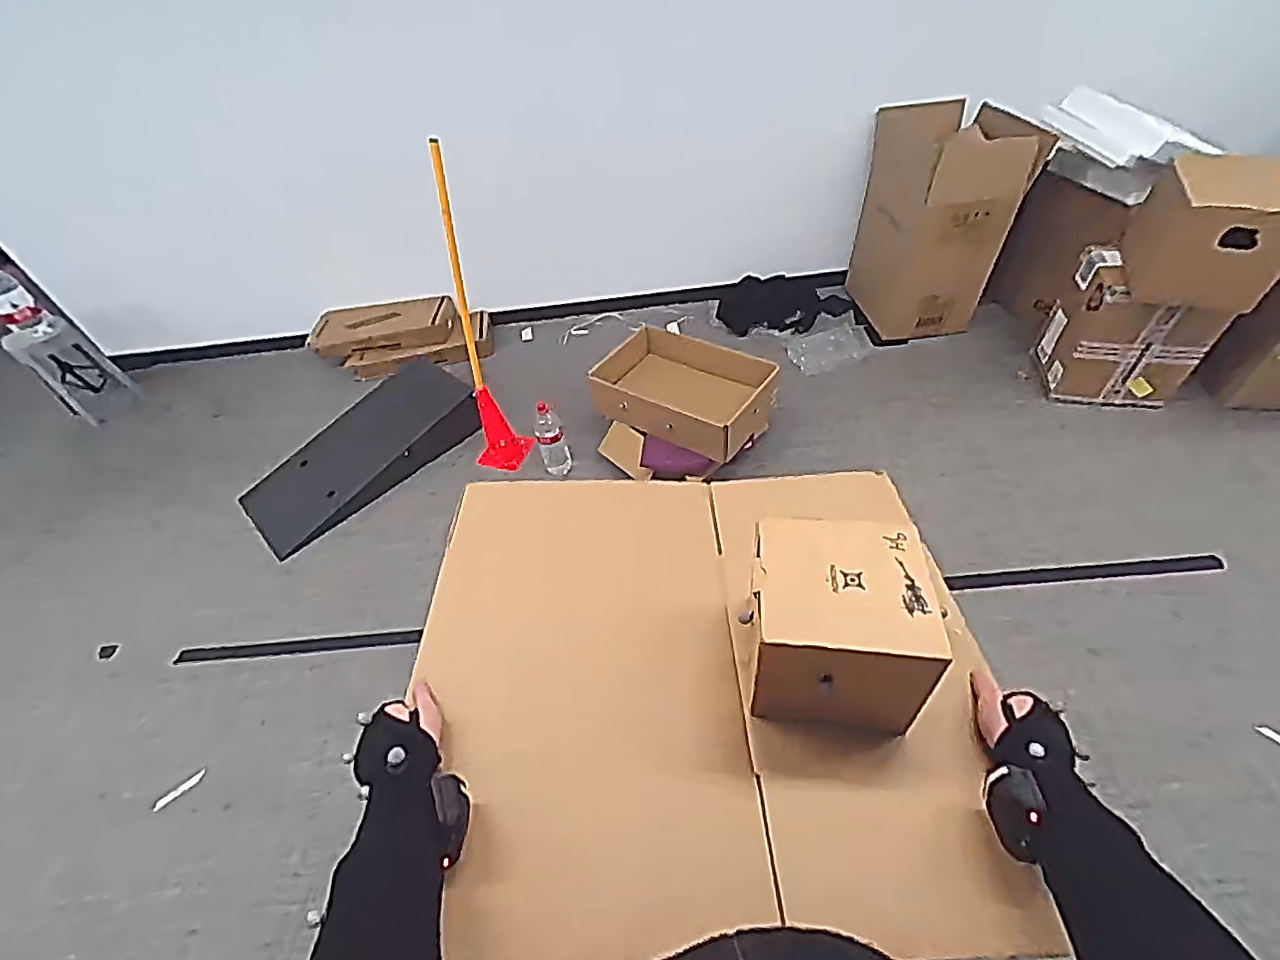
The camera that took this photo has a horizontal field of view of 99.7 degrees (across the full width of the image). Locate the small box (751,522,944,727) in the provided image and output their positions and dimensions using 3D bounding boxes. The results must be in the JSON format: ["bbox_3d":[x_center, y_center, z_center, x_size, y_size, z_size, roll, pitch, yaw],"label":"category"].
[{"bbox_3d":[0.219,0.167,0.627,0.179,0.176,0.168,2,44,10],"label":"small box"}]
